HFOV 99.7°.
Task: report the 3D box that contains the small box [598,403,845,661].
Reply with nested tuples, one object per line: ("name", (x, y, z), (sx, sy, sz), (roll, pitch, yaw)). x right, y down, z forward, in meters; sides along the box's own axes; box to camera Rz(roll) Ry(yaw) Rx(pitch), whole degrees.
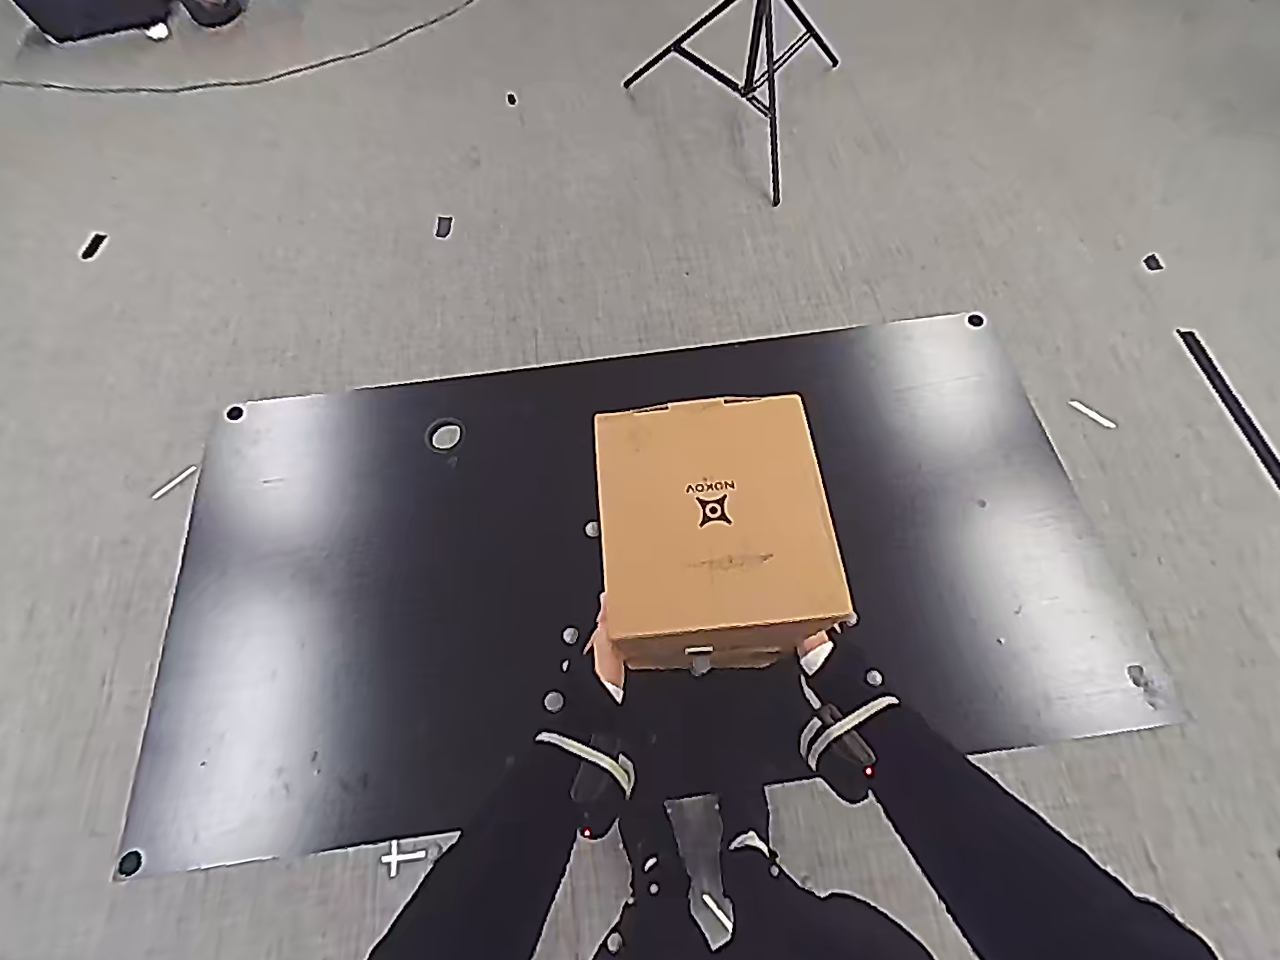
("small box", (0.055, 0.055, 0.475), (0.168, 0.176, 0.179), (-6, 67, 0))

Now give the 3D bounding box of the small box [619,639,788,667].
("small box", (0.064, 0.120, 0.624), (0.168, 0.176, 0.179), (-1, 65, 1))
